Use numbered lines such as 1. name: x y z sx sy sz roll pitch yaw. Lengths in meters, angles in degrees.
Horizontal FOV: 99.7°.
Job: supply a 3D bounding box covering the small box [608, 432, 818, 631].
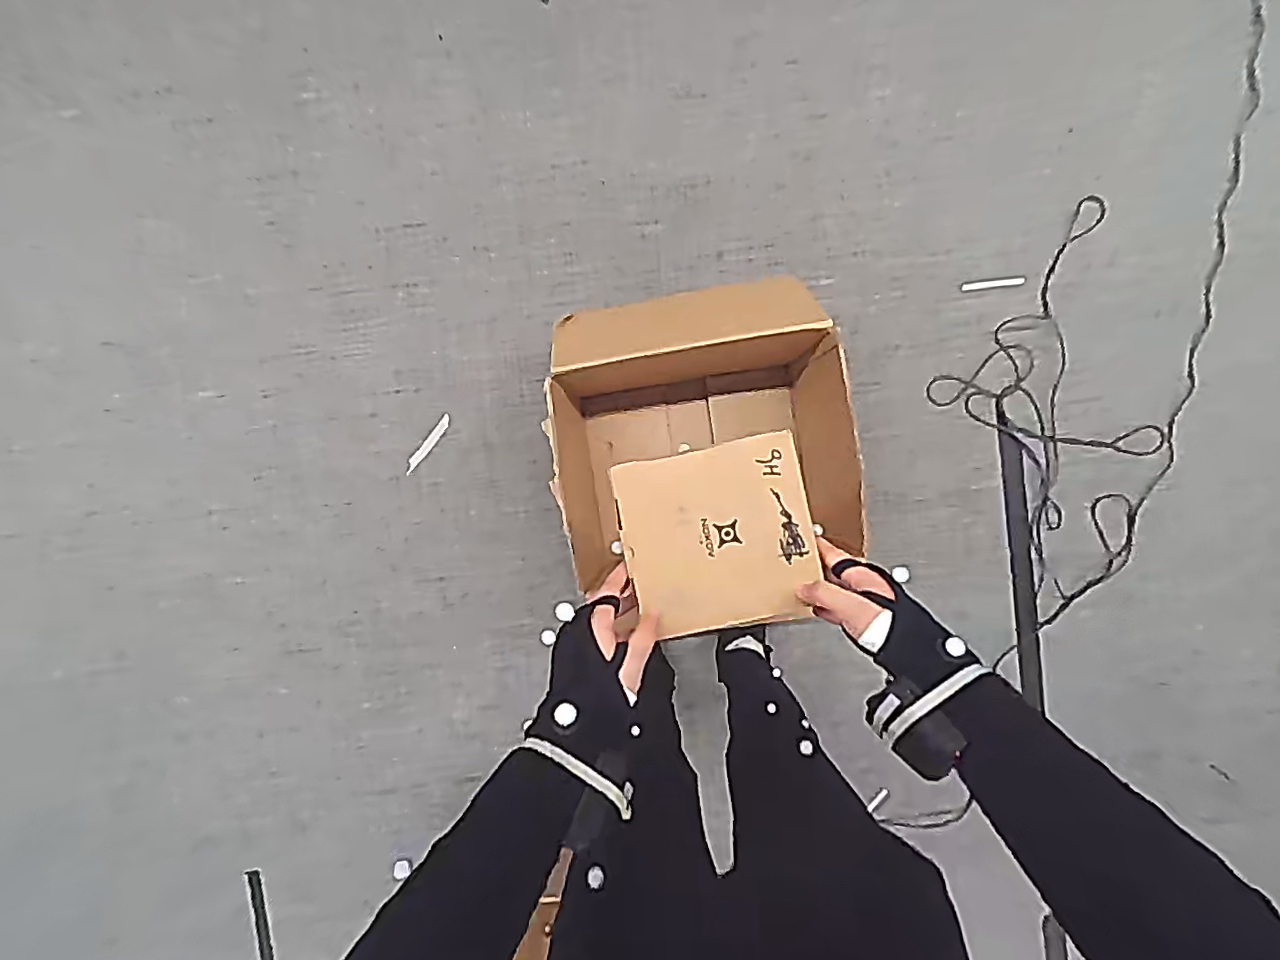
1. small box: 0.069 0.054 0.593 0.179 0.176 0.168 -12 87 -1
